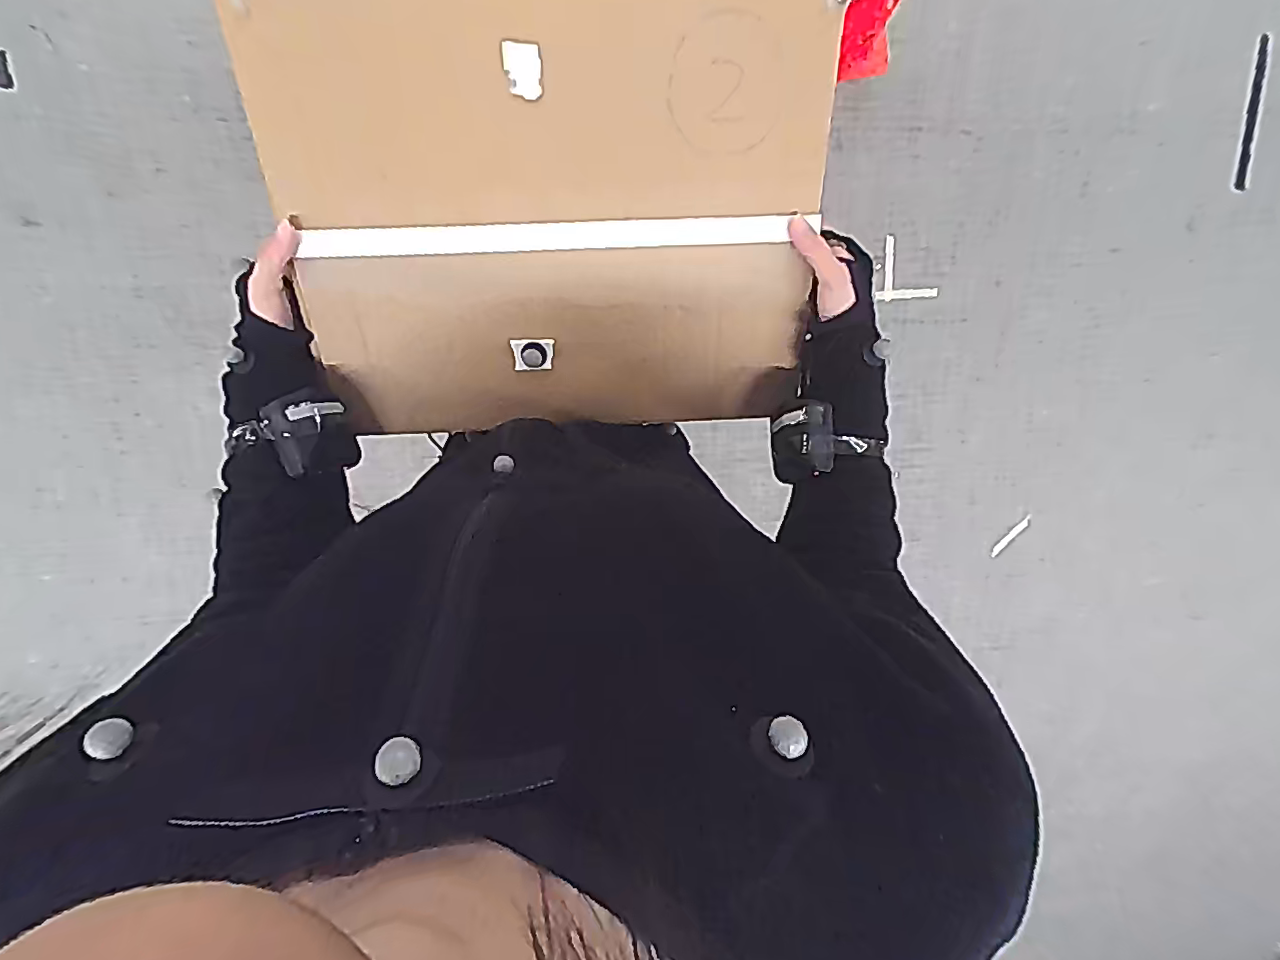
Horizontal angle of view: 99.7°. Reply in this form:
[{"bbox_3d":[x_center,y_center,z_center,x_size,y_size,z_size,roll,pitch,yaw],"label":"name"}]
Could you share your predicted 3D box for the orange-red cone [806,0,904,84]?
[{"bbox_3d":[0.507,-1.004,1.093,0.199,0.360,0.198,-11,104,-6],"label":"orange-red cone"}]
